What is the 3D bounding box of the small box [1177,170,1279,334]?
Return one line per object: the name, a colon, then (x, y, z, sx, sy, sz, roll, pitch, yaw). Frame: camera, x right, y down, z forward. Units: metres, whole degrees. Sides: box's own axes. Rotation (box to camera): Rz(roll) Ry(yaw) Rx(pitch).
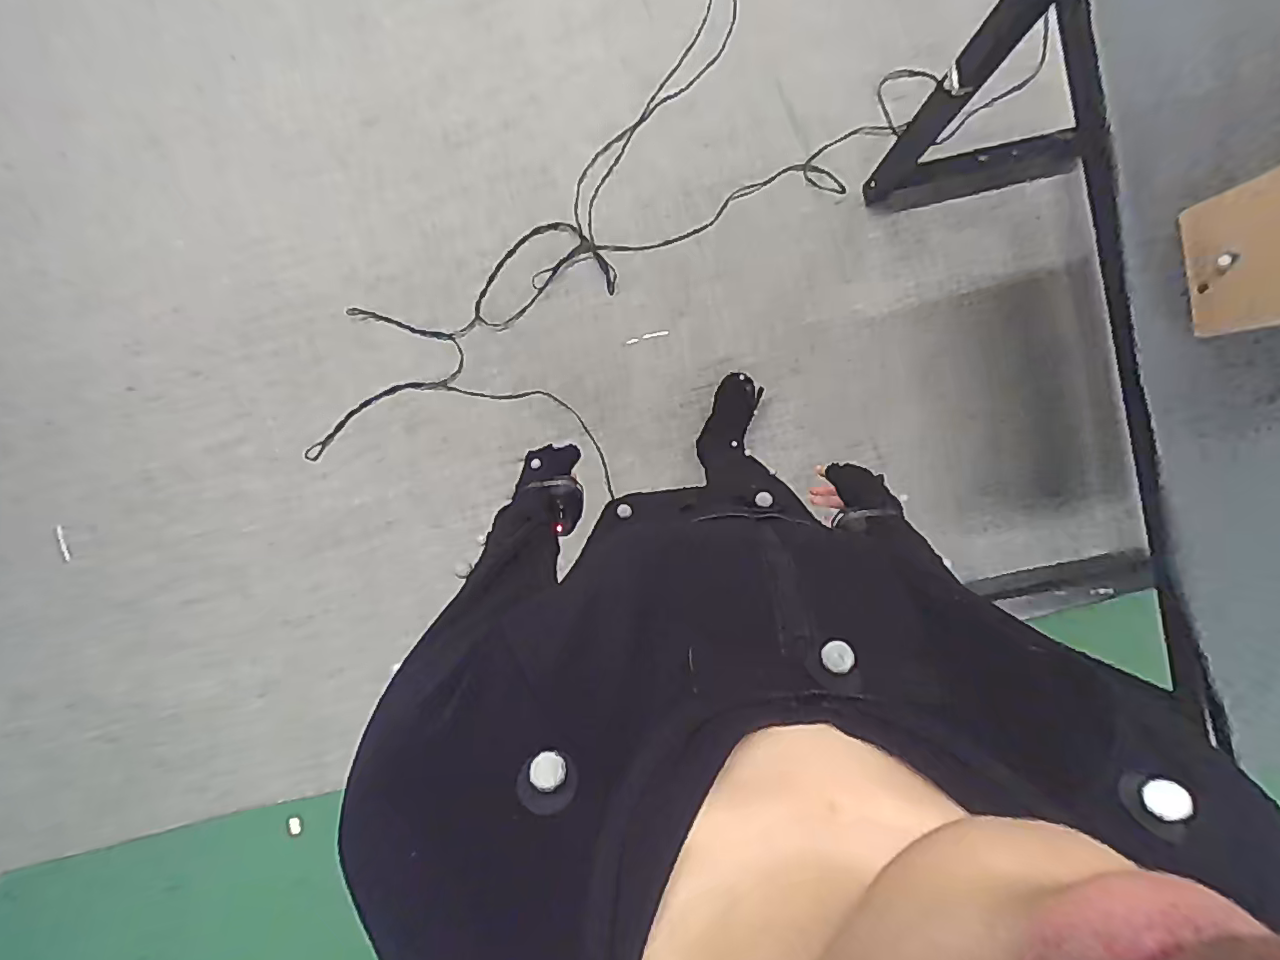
small box: (0.793, -0.278, 0.625, 0.179, 0.176, 0.168, -9, 92, 1)
